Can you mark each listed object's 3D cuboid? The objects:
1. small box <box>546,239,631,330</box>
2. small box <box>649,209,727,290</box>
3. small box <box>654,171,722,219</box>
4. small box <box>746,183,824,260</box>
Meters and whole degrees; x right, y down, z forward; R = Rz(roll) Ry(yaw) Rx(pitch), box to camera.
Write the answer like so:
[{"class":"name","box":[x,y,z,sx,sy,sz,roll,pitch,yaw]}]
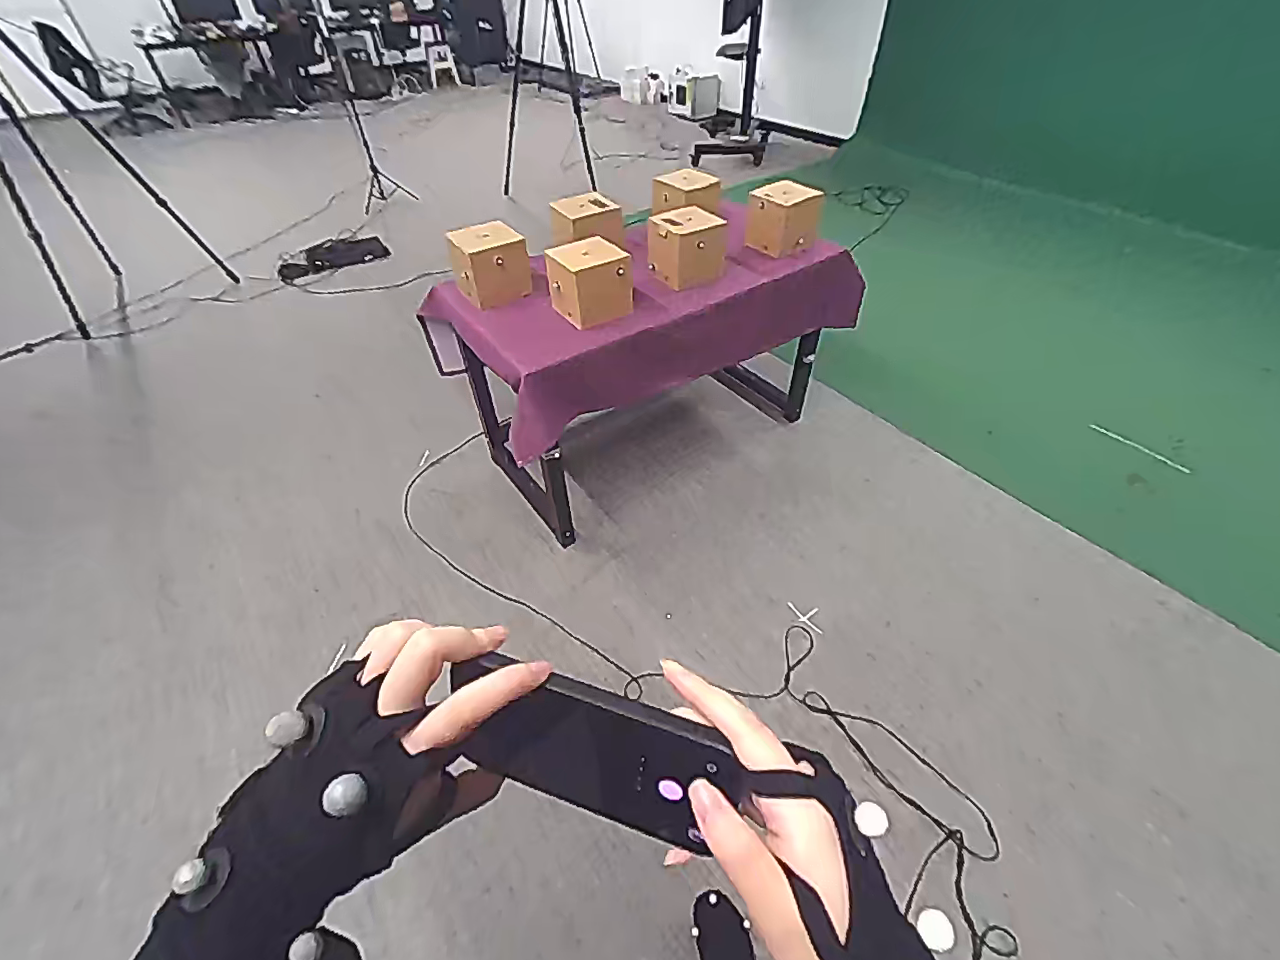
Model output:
[{"class":"small box","box":[-0.135,-0.537,1.490,0.179,0.176,0.168,-26,50,-24]},{"class":"small box","box":[0.142,-0.696,1.639,0.179,0.176,0.168,-24,50,-22]},{"class":"small box","box":[0.162,-0.958,1.894,0.168,0.176,0.179,-30,52,-25]},{"class":"small box","box":[0.471,-0.851,1.782,0.179,0.176,0.168,-29,51,-24]}]
